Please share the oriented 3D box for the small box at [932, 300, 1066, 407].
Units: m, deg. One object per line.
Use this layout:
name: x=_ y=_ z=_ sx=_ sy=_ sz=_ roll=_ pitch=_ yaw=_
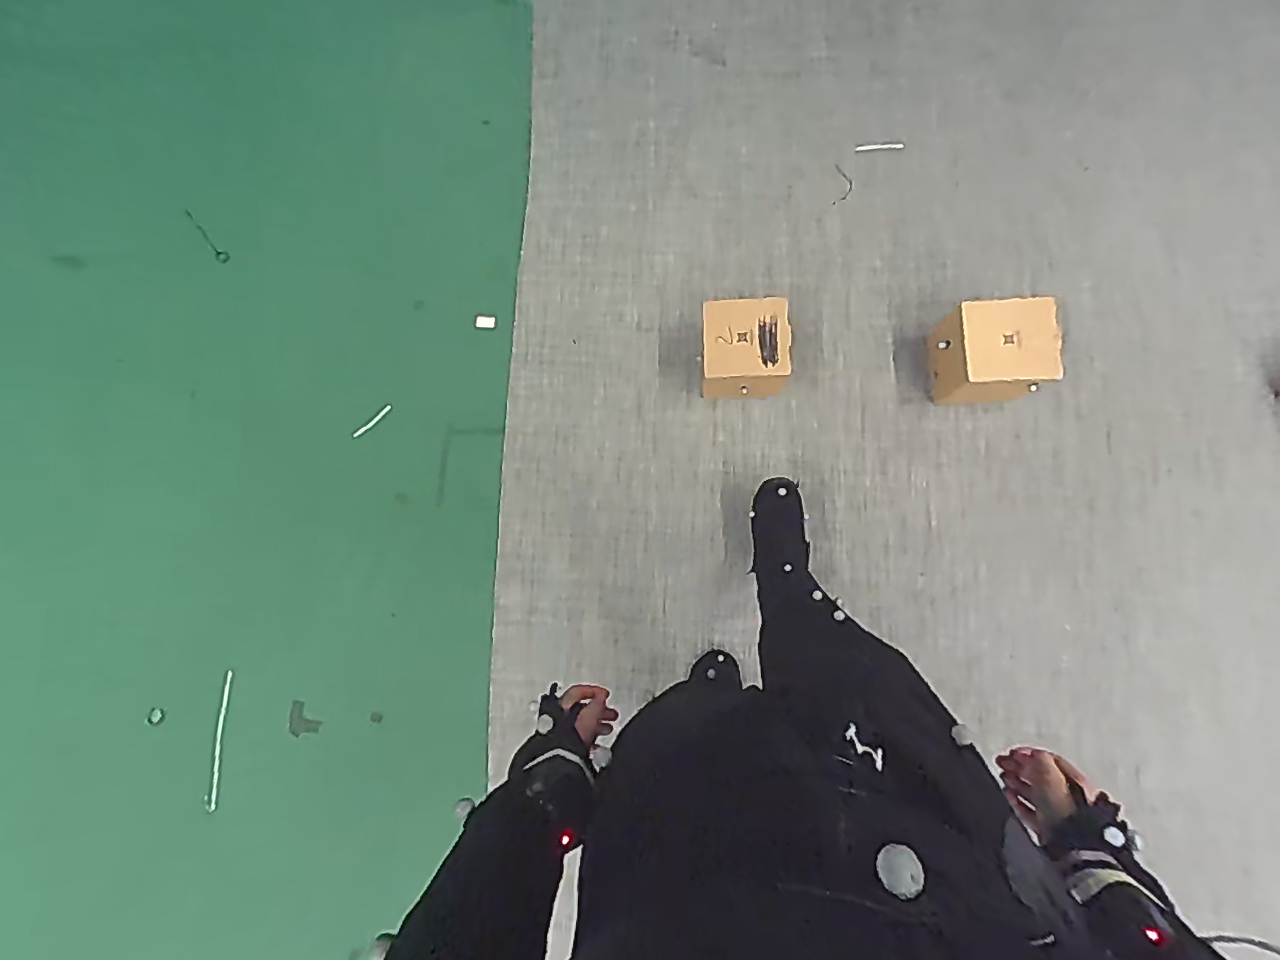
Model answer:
small box: x=0.723 y=-0.253 z=1.115 sx=0.179 sy=0.176 sz=0.168 roll=-1 pitch=82 yaw=5
